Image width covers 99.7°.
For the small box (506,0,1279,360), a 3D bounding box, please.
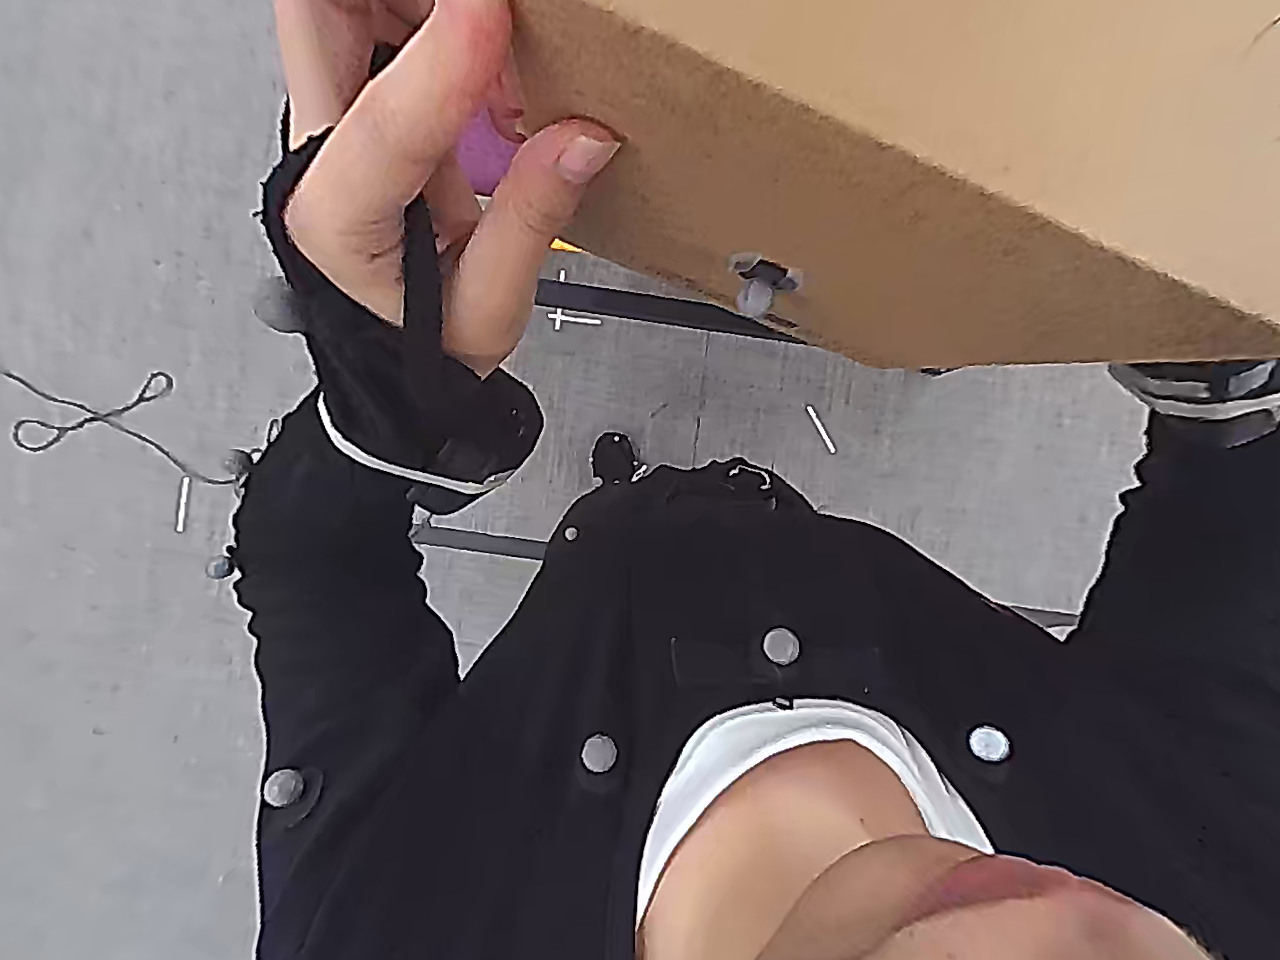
[{"bbox_3d":[0.078,-0.144,0.159,0.168,0.176,0.179,19,98,-9],"label":"small box"}]
